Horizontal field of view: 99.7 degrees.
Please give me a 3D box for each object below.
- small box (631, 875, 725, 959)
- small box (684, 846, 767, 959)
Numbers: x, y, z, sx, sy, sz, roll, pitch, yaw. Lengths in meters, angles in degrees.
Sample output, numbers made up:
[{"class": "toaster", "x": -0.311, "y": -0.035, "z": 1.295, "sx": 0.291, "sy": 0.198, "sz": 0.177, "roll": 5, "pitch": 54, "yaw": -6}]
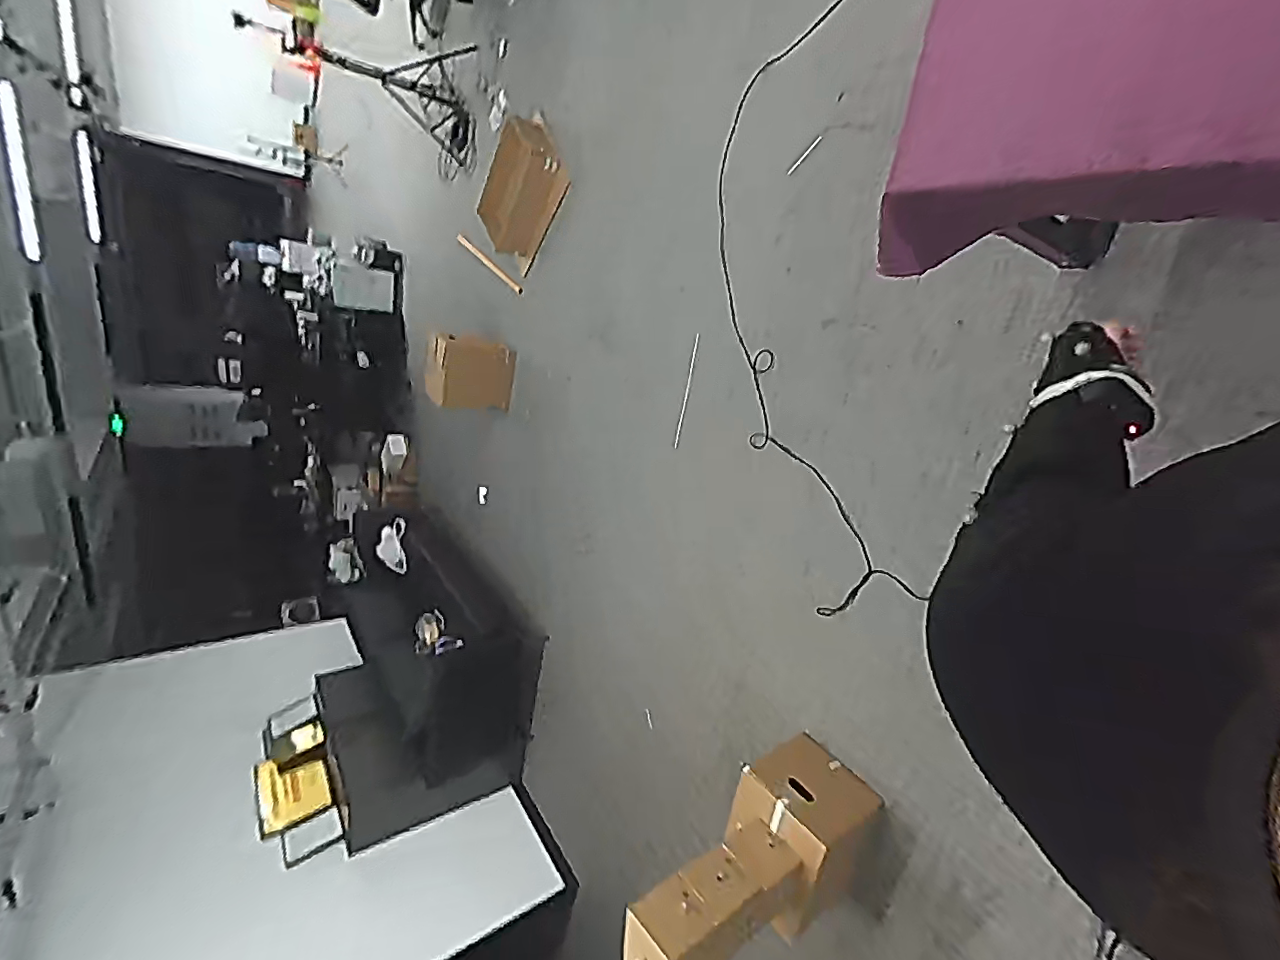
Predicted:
[{"class": "small box", "x": 0.096, "y": 1.167, "z": 1.368, "sx": 0.168, "sy": 0.176, "sz": 0.179, "roll": 16, "pitch": 106, "yaw": 49}, {"class": "small box", "x": 0.225, "y": 1.153, "z": 1.471, "sx": 0.168, "sy": 0.176, "sz": 0.179, "roll": 18, "pitch": 107, "yaw": 49}]
